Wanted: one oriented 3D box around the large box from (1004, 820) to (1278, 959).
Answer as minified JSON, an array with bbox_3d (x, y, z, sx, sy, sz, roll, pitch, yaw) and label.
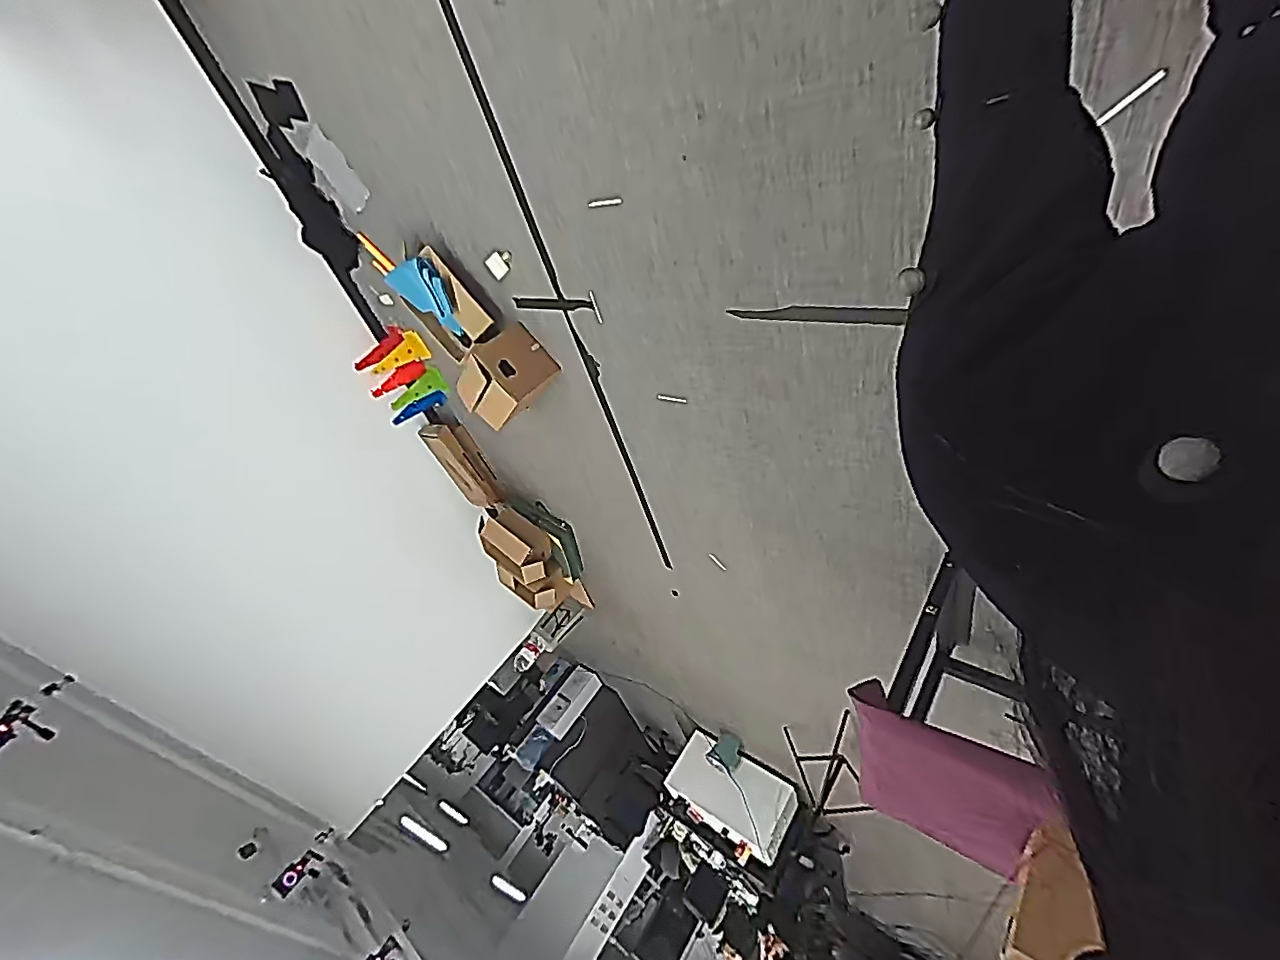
[{"bbox_3d":[1.124,1.097,1.250,0.408,0.320,0.320,16,139,40],"label":"large box"}]
